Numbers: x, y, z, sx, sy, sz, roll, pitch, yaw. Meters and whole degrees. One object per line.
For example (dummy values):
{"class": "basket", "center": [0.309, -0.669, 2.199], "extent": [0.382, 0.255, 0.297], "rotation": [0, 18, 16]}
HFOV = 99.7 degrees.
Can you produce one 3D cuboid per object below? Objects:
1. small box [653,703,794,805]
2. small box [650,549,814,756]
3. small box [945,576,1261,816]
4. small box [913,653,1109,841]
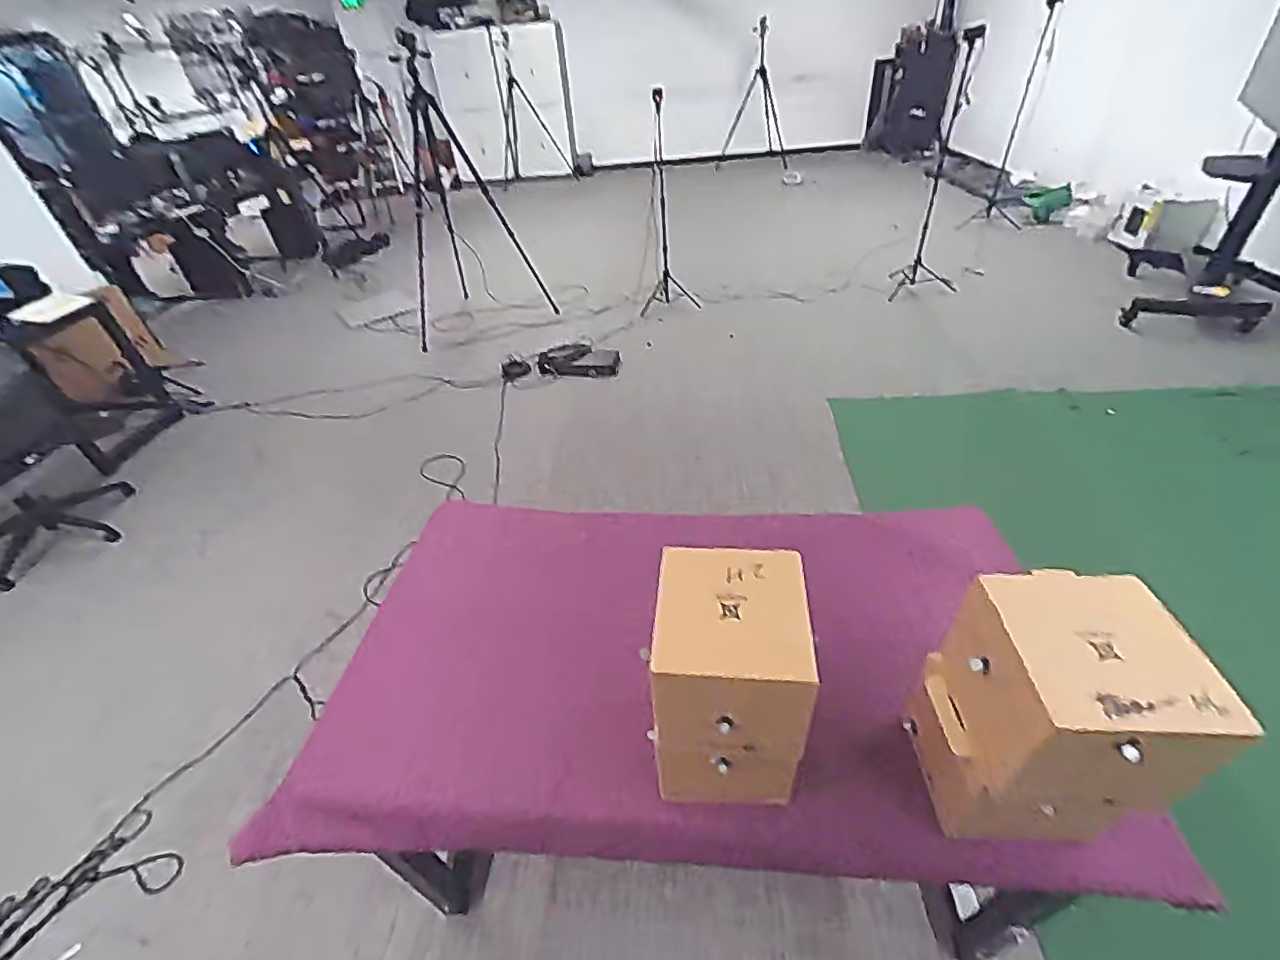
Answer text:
{"class": "small box", "center": [0.116, 0.329, 0.754], "extent": [0.179, 0.176, 0.168], "rotation": [0, 38, 7]}
{"class": "small box", "center": [0.109, 0.204, 0.648], "extent": [0.168, 0.176, 0.179], "rotation": [1, 39, 9]}
{"class": "small box", "center": [0.453, 0.224, 0.575], "extent": [0.168, 0.176, 0.179], "rotation": [-1, 38, 7]}
{"class": "small box", "center": [0.470, 0.340, 0.691], "extent": [0.179, 0.176, 0.168], "rotation": [-2, 39, 5]}
